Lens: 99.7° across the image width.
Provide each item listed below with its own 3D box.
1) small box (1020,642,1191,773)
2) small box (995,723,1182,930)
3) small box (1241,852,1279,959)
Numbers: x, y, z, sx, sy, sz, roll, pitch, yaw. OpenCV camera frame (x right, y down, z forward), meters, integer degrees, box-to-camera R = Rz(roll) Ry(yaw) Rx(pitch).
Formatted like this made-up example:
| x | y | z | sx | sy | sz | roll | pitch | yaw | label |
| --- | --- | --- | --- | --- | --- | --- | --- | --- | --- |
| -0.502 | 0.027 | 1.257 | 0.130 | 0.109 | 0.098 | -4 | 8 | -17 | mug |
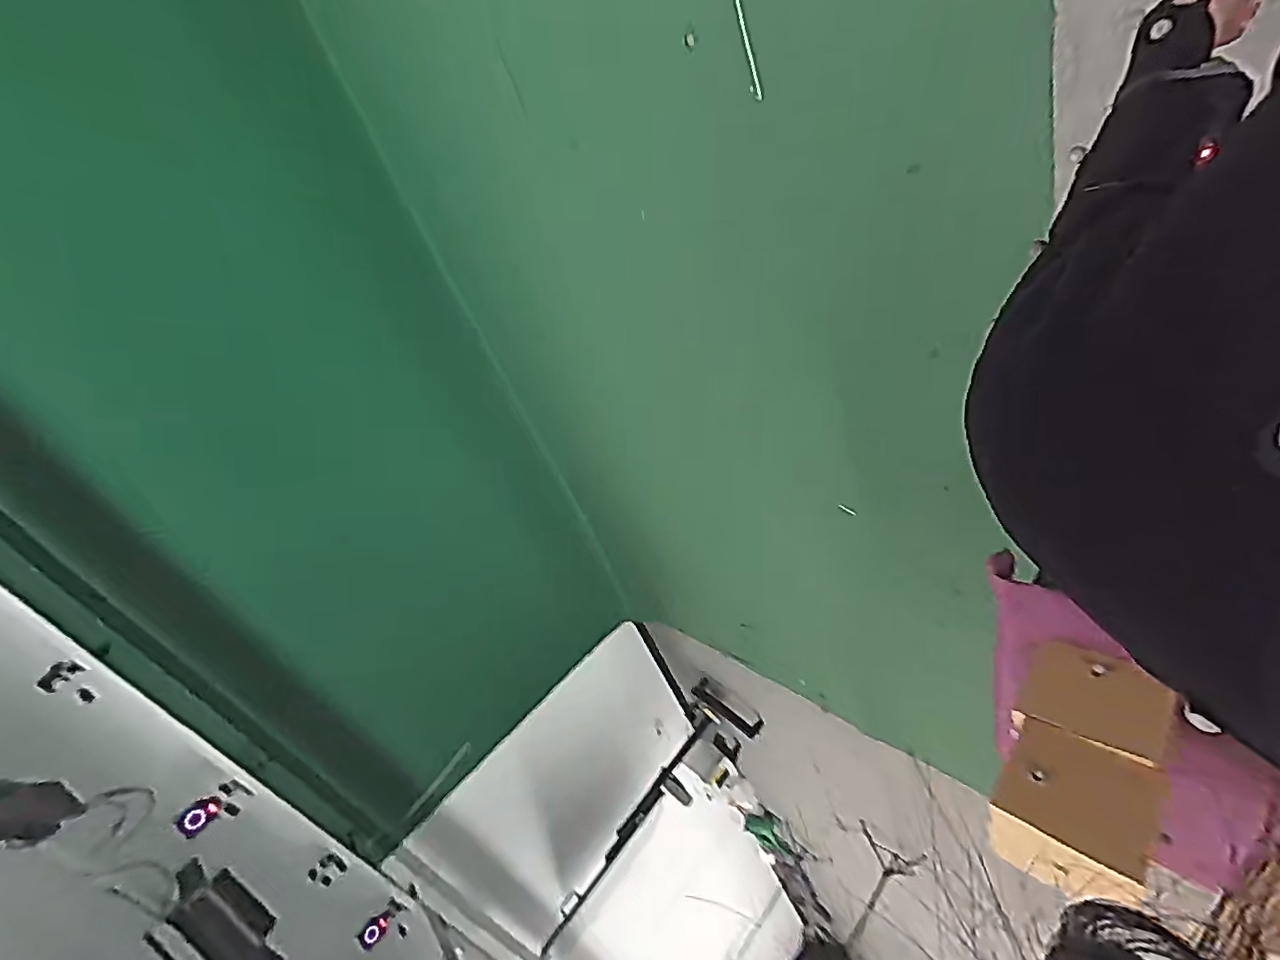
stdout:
| x | y | z | sx | sy | sz | roll | pitch | yaw | label |
| --- | --- | --- | --- | --- | --- | --- | --- | --- | --- |
| 0.760 | 0.395 | 0.887 | 0.179 | 0.176 | 0.168 | 10 | 134 | 51 | small box |
| 0.660 | 0.499 | 0.807 | 0.179 | 0.176 | 0.168 | 15 | 138 | 46 | small box |
| 0.830 | 0.537 | 0.602 | 0.179 | 0.176 | 0.168 | 21 | 143 | 42 | small box |
